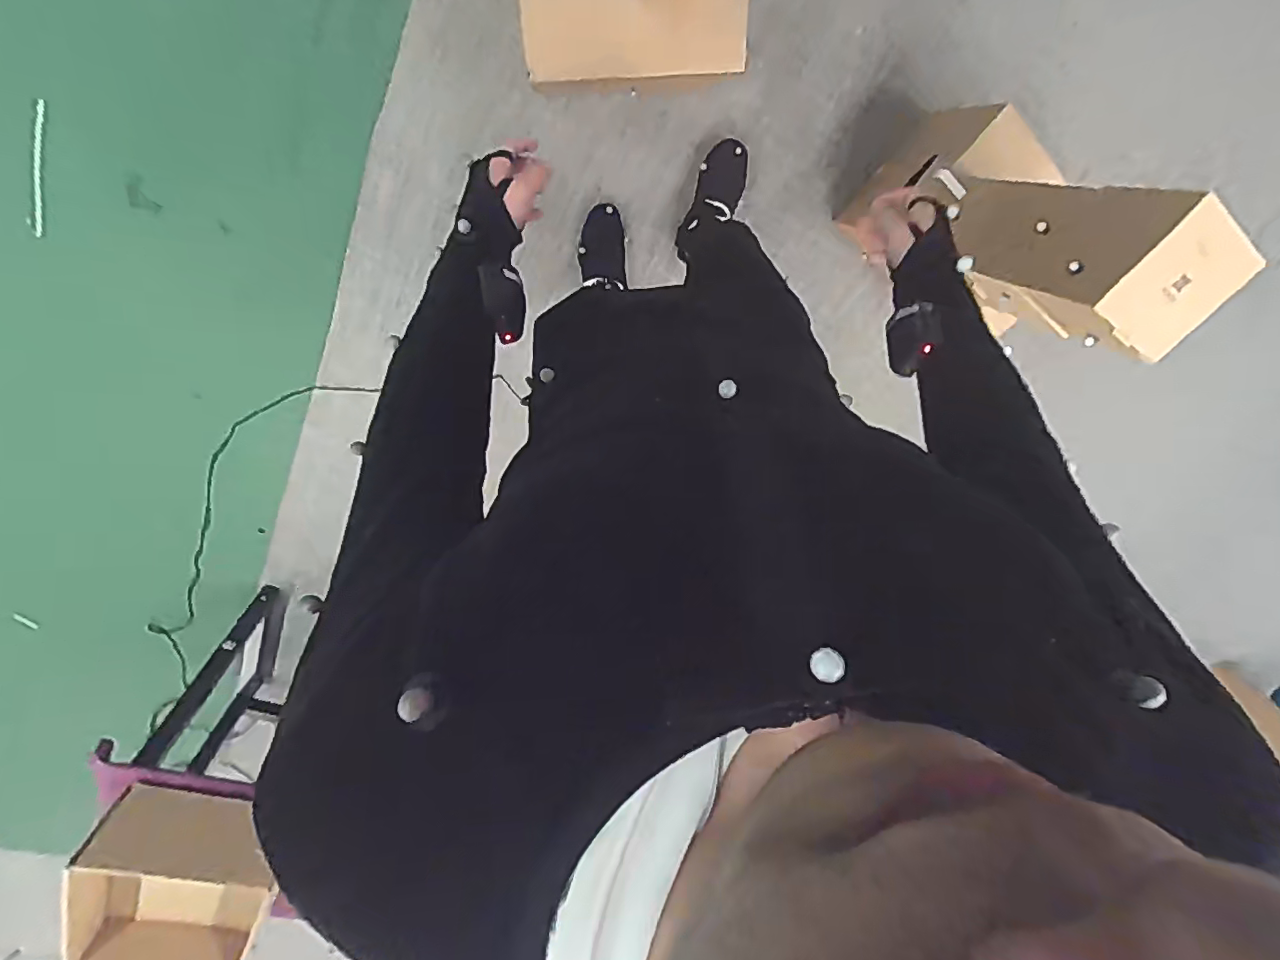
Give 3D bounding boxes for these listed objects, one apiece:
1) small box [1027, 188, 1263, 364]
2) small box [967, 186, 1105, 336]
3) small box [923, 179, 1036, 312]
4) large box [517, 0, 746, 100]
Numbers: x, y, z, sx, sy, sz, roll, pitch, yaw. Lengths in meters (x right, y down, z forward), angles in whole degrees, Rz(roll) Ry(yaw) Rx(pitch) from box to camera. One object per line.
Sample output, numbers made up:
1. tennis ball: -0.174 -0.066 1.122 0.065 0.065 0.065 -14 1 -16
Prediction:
1. small box: 0.738 -0.312 0.818 0.168 0.176 0.179 28 114 -20
2. small box: 0.725 -0.392 0.960 0.168 0.176 0.179 29 114 -20
3. small box: 0.712 -0.478 1.097 0.168 0.176 0.179 29 116 -21
4. large box: -0.022 -0.943 1.042 0.408 0.320 0.320 -4 120 -1
